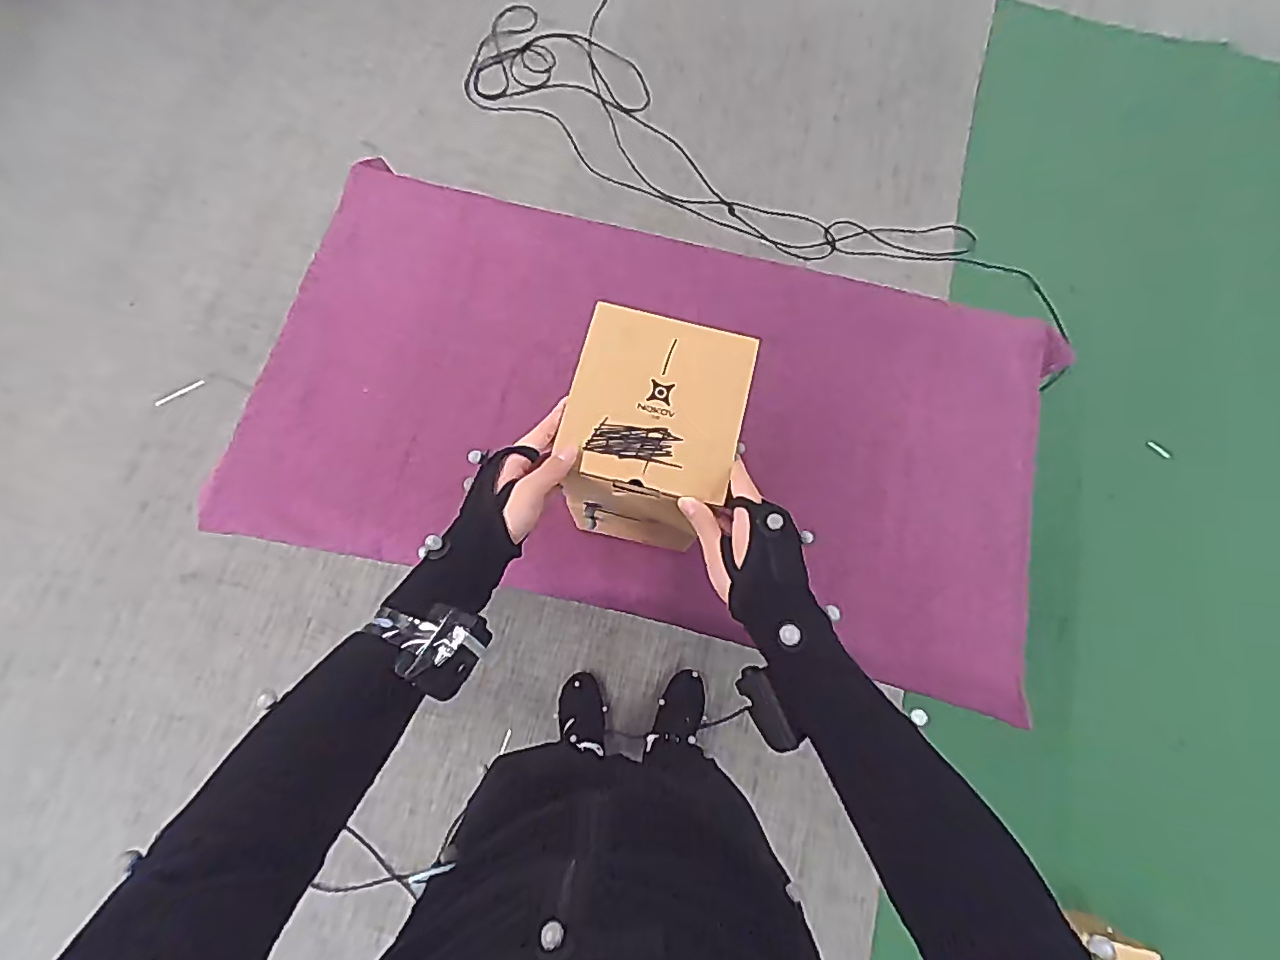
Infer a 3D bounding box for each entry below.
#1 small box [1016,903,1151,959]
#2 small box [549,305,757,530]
[{"bbox_3d":[1.016,1.122,1.244,0.179,0.176,0.168,16,74,1],"label":"small box"},{"bbox_3d":[0.014,-0.054,0.586,0.168,0.176,0.179,14,76,2],"label":"small box"}]
